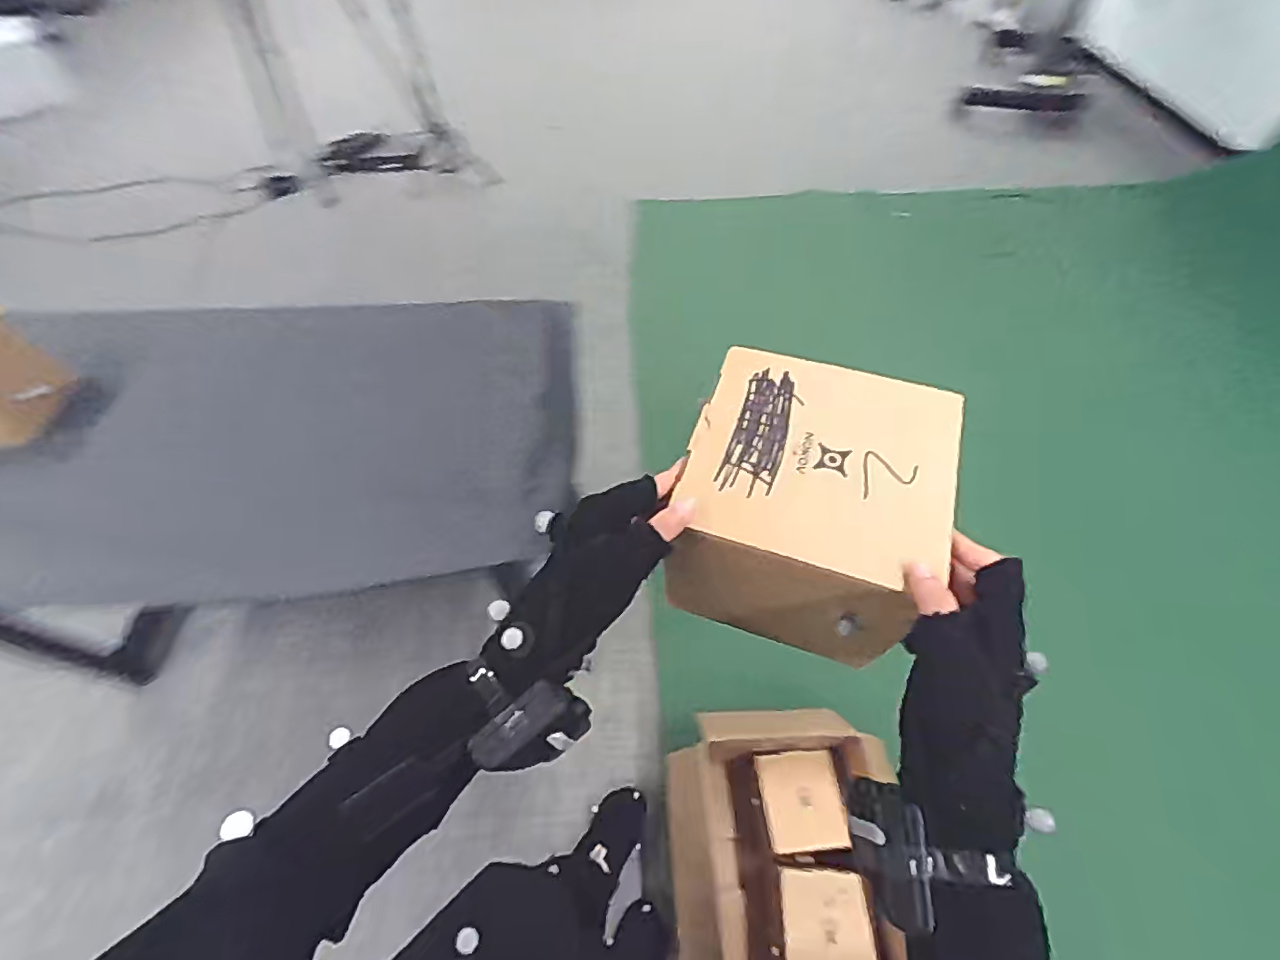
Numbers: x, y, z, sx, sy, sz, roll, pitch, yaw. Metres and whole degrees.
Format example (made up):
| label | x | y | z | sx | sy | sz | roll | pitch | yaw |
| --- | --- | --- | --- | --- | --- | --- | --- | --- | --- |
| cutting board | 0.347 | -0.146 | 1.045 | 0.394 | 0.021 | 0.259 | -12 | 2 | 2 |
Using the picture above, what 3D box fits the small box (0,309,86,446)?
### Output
| label | x | y | z | sx | sy | sz | roll | pitch | yaw |
| --- | --- | --- | --- | --- | --- | --- | --- | --- | --- |
| small box | -1.137 | -0.168 | 0.922 | 0.179 | 0.176 | 0.168 | -3 | 56 | -2 |
